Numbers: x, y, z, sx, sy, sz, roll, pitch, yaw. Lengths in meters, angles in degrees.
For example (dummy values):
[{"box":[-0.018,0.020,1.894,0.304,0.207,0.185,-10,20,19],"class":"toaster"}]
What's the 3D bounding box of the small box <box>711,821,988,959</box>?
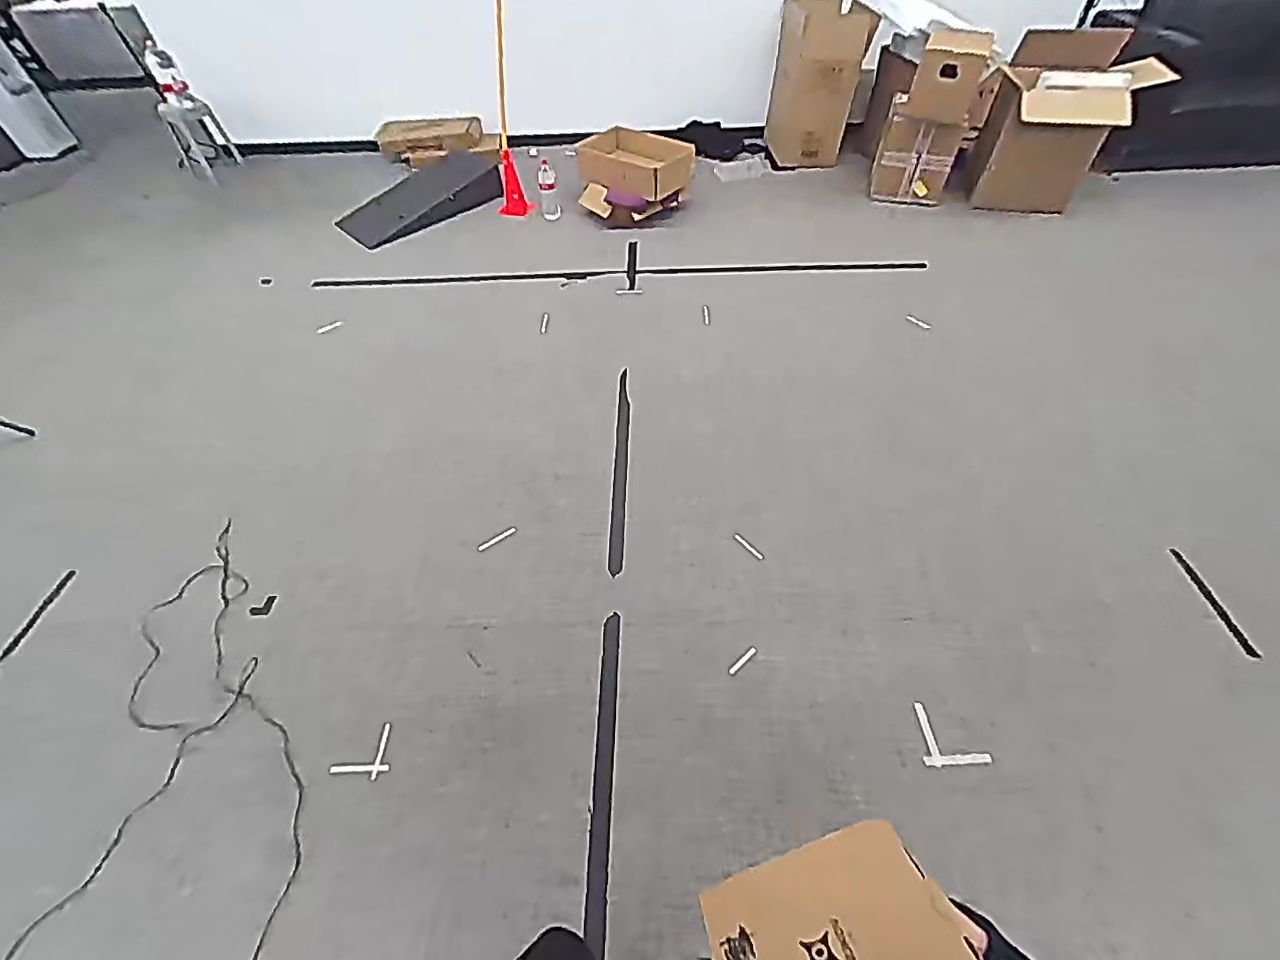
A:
[{"box":[0.175,0.416,0.409,0.179,0.176,0.168,-21,9,-1],"class":"small box"}]
